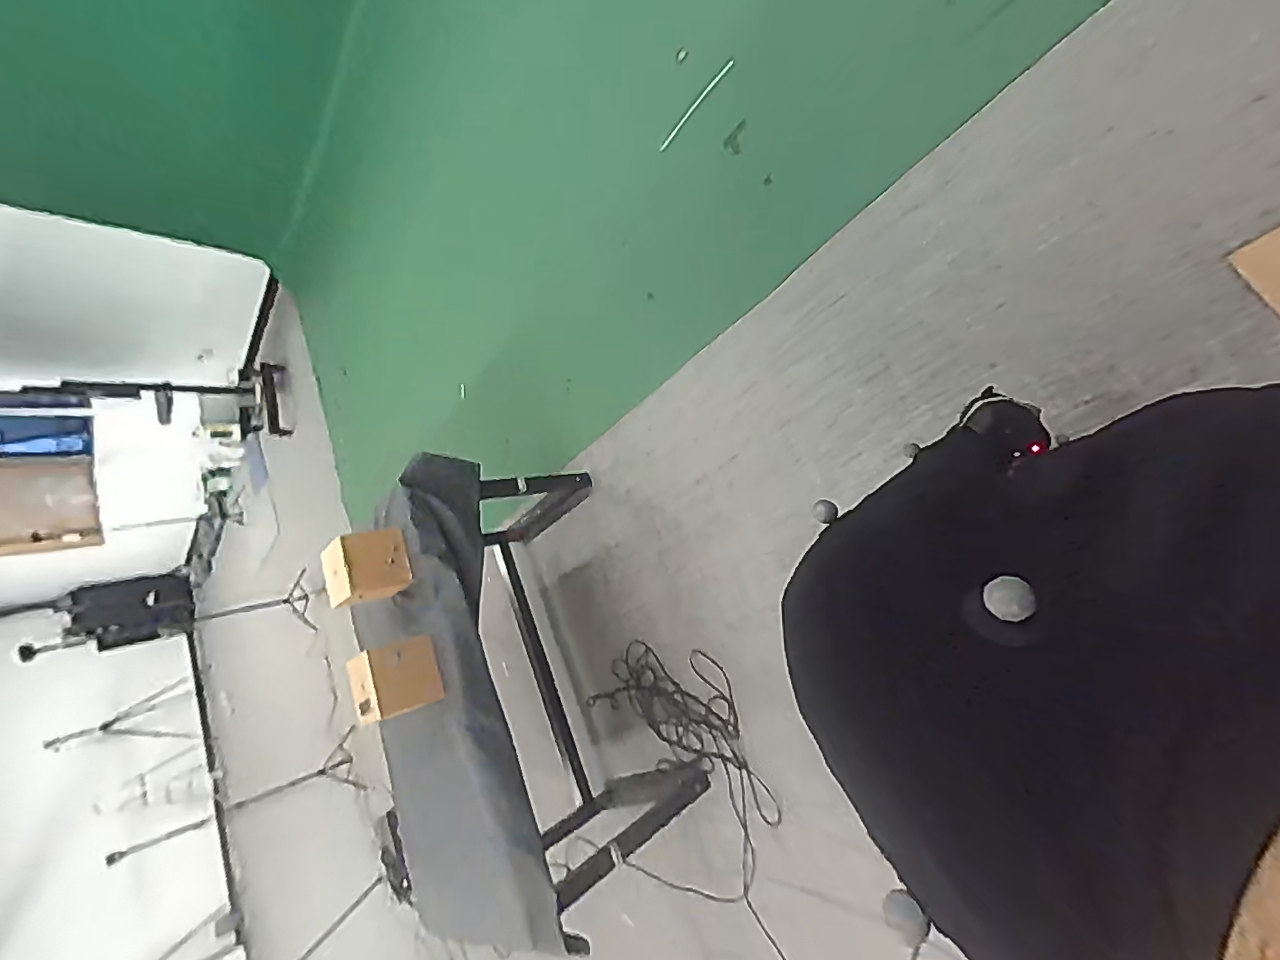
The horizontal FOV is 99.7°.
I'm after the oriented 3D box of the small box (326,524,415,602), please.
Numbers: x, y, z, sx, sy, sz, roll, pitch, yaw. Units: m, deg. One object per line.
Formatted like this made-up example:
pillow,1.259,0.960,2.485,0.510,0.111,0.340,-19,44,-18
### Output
small box,-0.765,0.233,1.535,0.179,0.176,0.168,-30,74,40
